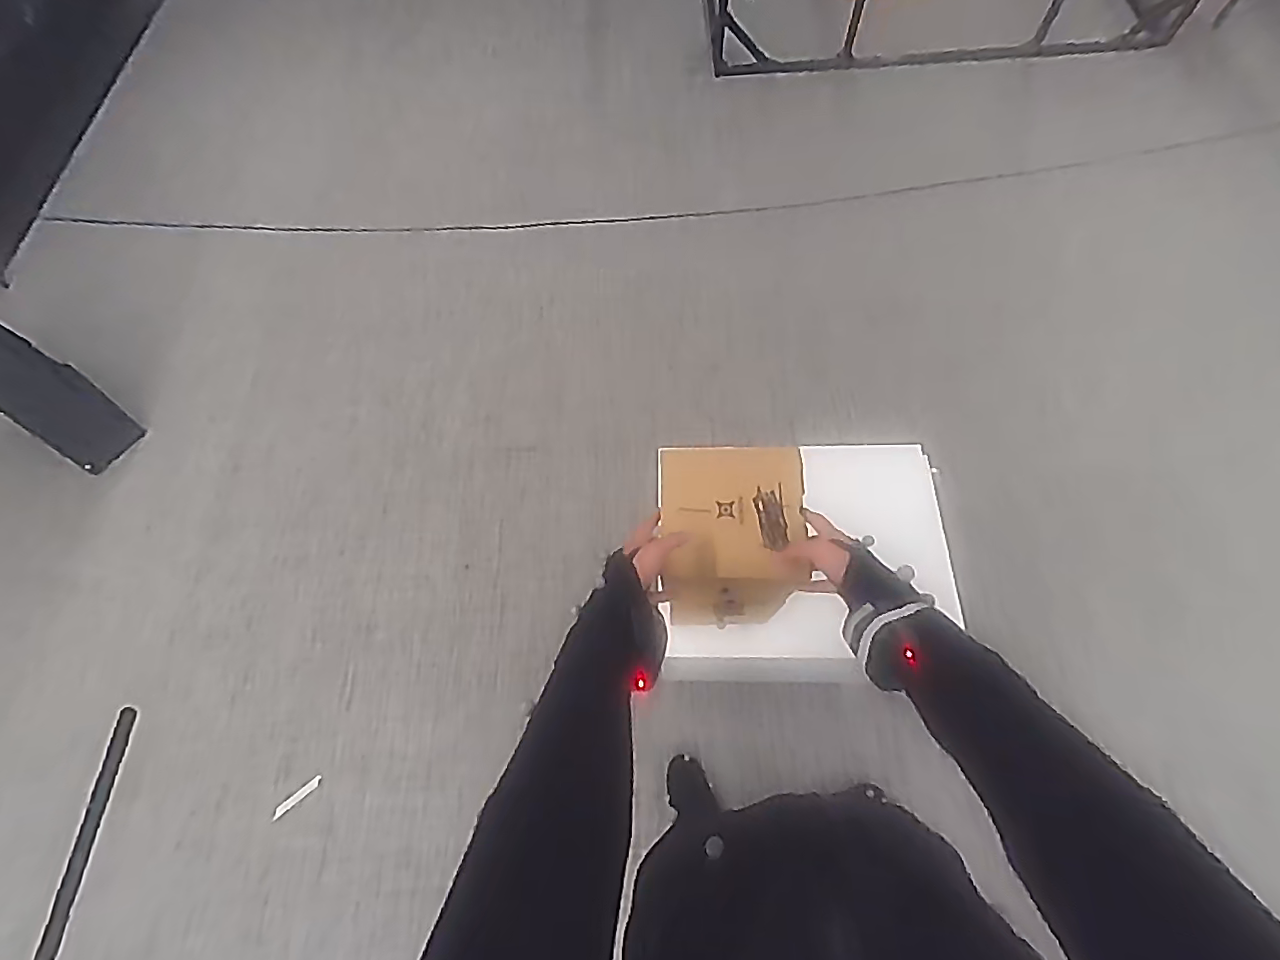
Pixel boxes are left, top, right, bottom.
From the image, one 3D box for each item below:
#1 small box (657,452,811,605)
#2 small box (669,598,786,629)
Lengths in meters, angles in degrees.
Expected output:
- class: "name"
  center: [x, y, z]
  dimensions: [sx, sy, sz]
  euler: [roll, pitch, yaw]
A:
- class: "small box"
  center: [0.113, 0.070, 0.711]
  dimensions: [0.179, 0.176, 0.168]
  euler: [-2, 69, 5]
- class: "small box"
  center: [0.129, 0.136, 0.869]
  dimensions: [0.168, 0.176, 0.179]
  euler: [-2, 66, 3]
